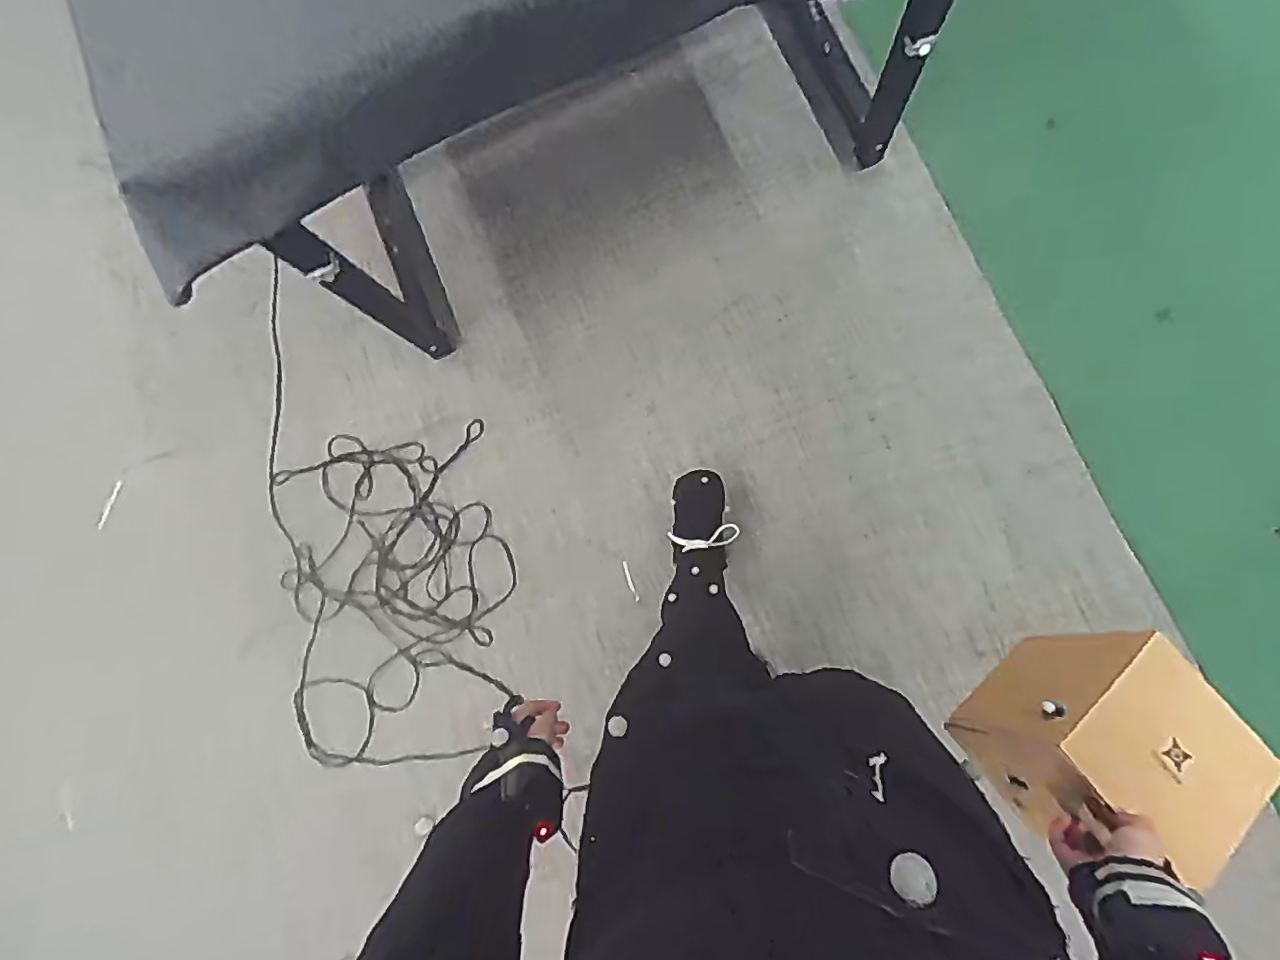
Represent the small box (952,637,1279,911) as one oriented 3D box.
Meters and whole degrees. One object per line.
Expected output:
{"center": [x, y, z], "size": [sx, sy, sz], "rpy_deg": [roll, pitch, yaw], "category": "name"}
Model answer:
{"center": [0.486, 0.286, 0.577], "size": [0.179, 0.176, 0.168], "rpy_deg": [-35, 80, -15], "category": "small box"}
